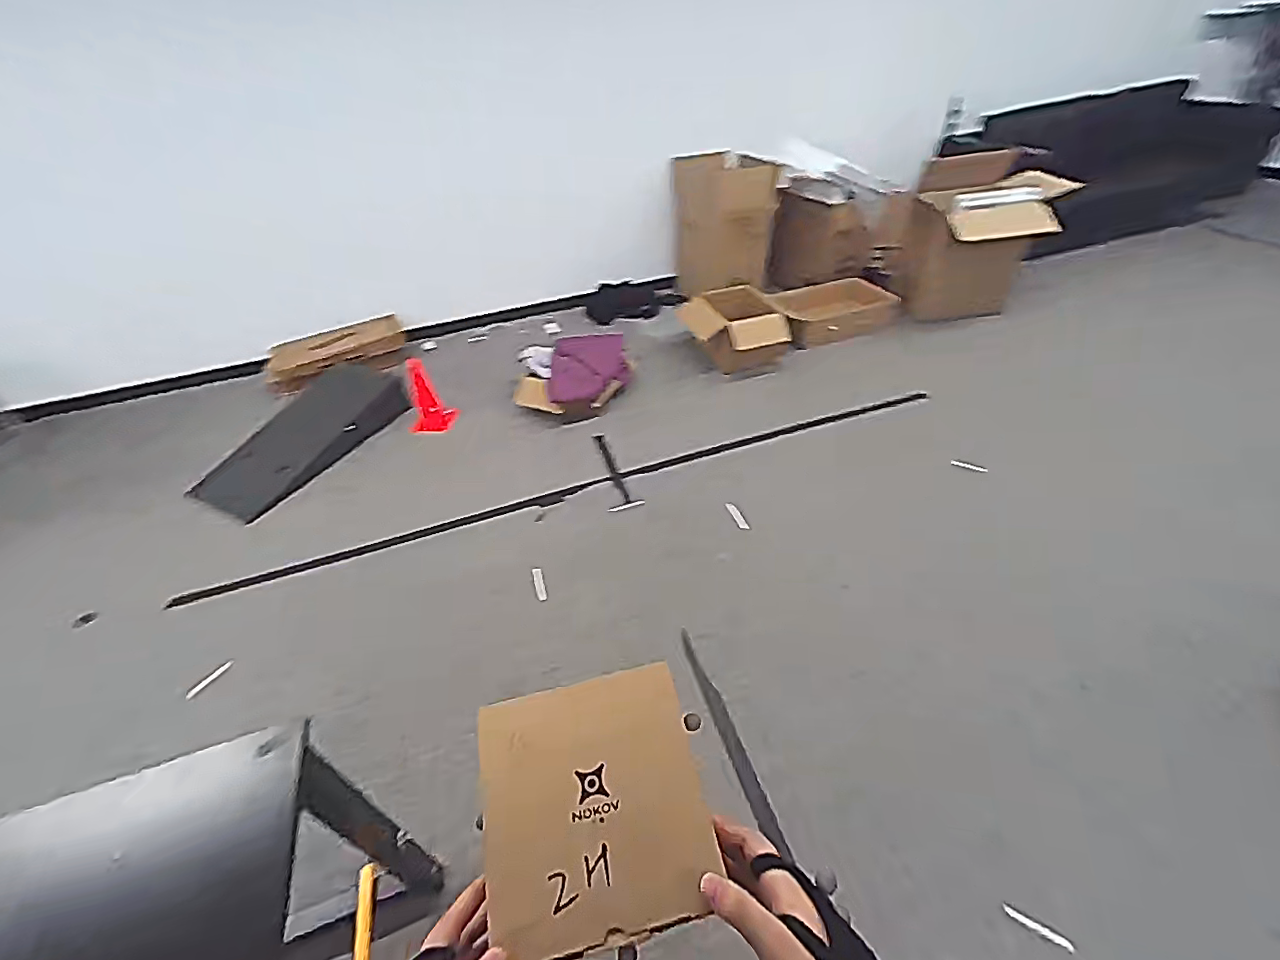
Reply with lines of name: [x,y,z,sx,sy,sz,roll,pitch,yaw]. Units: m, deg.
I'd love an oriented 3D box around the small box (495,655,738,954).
small box: [-0.024,0.284,0.478,0.168,0.176,0.179,-12,52,-5]
